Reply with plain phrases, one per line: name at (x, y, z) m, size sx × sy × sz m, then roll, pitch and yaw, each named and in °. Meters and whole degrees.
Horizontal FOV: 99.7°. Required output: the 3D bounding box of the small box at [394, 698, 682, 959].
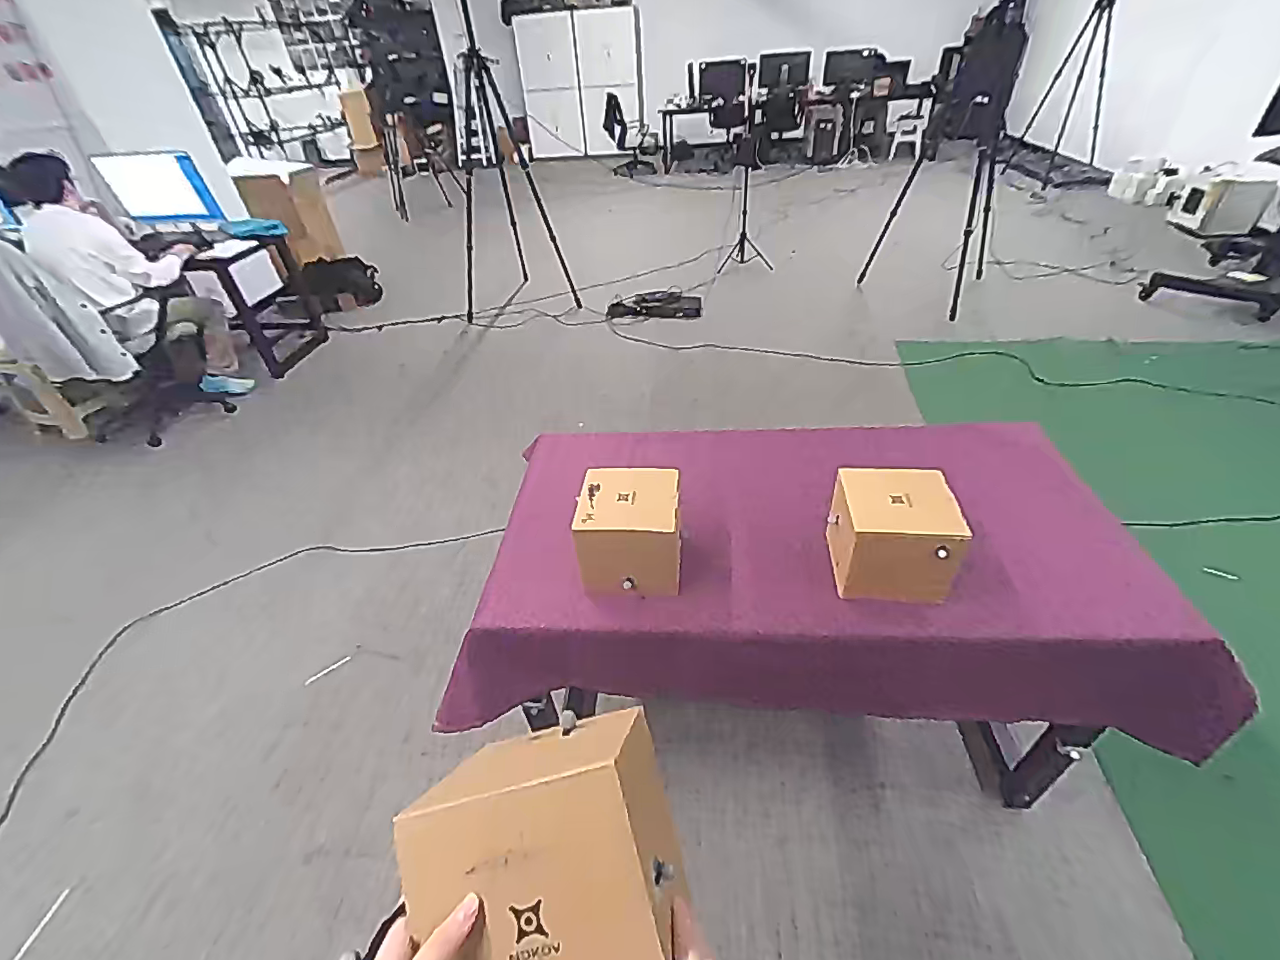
small box at (-0.066, 0.301, 0.441) m, size 0.168 × 0.176 × 0.179 m, roll -16°, pitch 79°, yaw 4°

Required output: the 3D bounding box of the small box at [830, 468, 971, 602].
small box at (0.435, 0.096, 0.942) m, size 0.179 × 0.176 × 0.168 m, roll 2°, pitch 40°, yaw 8°

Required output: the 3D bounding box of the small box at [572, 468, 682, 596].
small box at (-0.014, 0.096, 0.992) m, size 0.179 × 0.176 × 0.168 m, roll 1°, pitch 39°, yaw 7°
